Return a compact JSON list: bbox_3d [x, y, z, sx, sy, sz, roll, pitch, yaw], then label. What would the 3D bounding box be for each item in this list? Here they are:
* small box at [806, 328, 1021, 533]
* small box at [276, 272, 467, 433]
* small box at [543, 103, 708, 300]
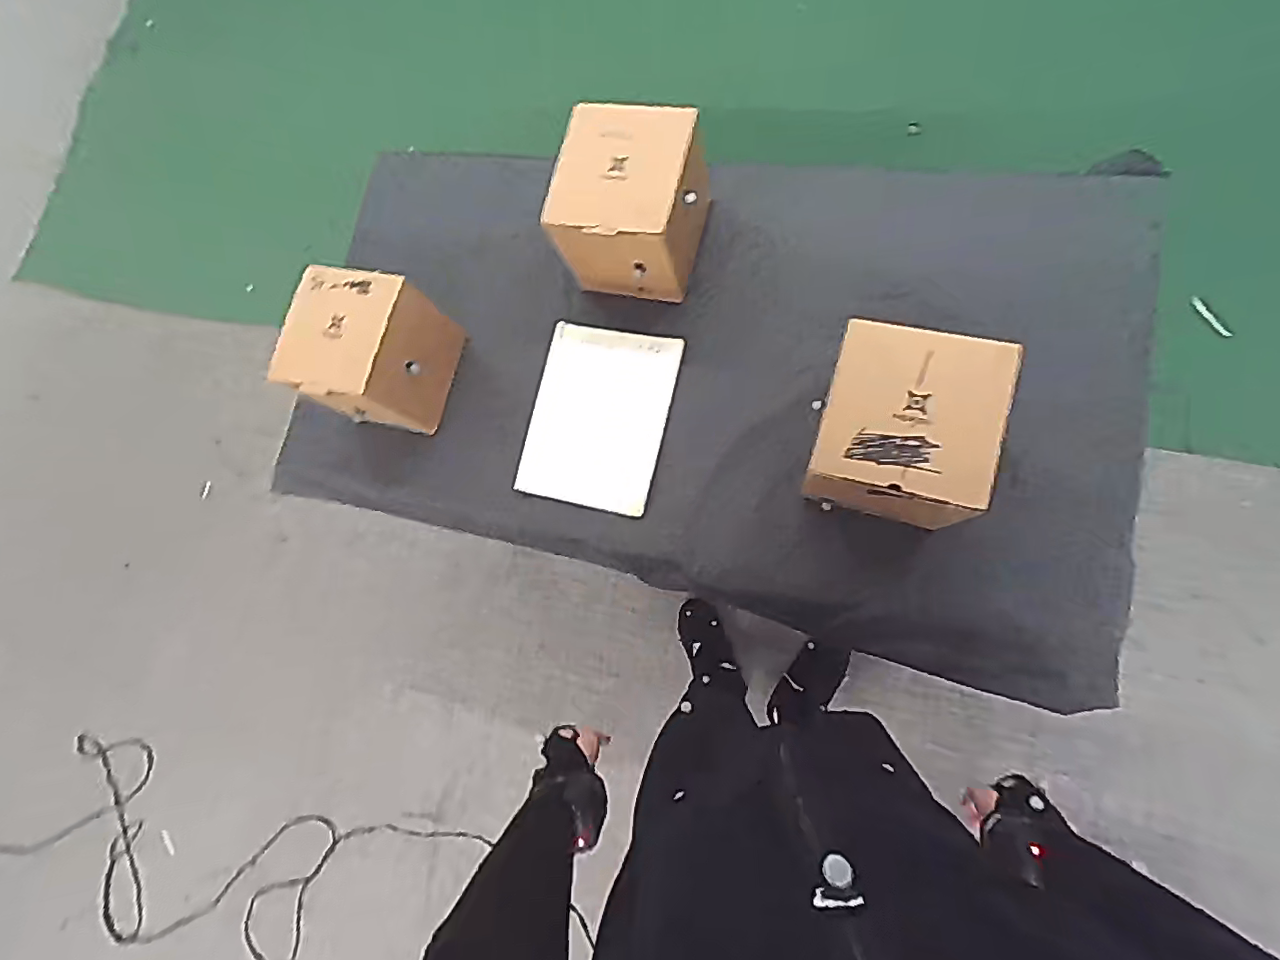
[{"bbox_3d":[0.296,-0.046,0.624,0.168,0.176,0.179,16,83,15],"label":"small box"},{"bbox_3d":[-0.387,-0.182,0.810,0.168,0.176,0.179,12,82,15],"label":"small box"},{"bbox_3d":[-0.008,-0.371,0.743,0.168,0.176,0.179,13,82,14],"label":"small box"}]
